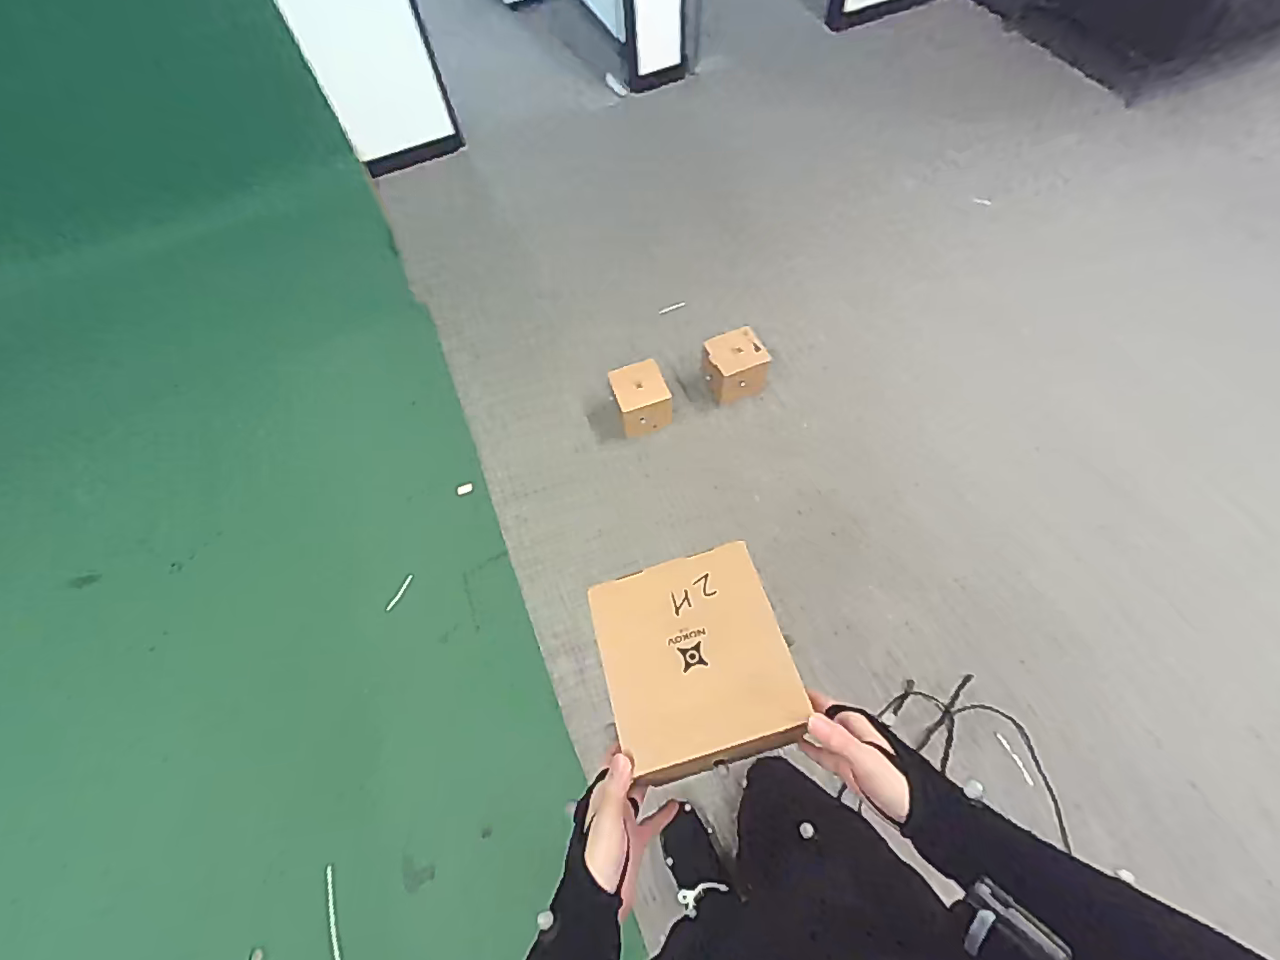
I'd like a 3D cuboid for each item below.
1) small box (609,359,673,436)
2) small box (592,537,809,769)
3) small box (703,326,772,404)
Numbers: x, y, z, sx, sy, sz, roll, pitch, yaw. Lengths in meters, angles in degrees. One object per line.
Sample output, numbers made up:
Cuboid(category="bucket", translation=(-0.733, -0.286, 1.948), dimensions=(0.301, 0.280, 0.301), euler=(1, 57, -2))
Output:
Cuboid(category="small box", translation=(0.008, -0.269, 1.814), dimensions=(0.168, 0.176, 0.179), euler=(-19, 62, -6))
Cuboid(category="small box", translation=(0.061, 0.189, 0.565), dimensions=(0.168, 0.176, 0.179), euler=(-16, 57, 0))
Cuboid(category="small box", translation=(0.327, -0.389, 1.848), dimensions=(0.179, 0.176, 0.168), euler=(-22, 63, -7))
